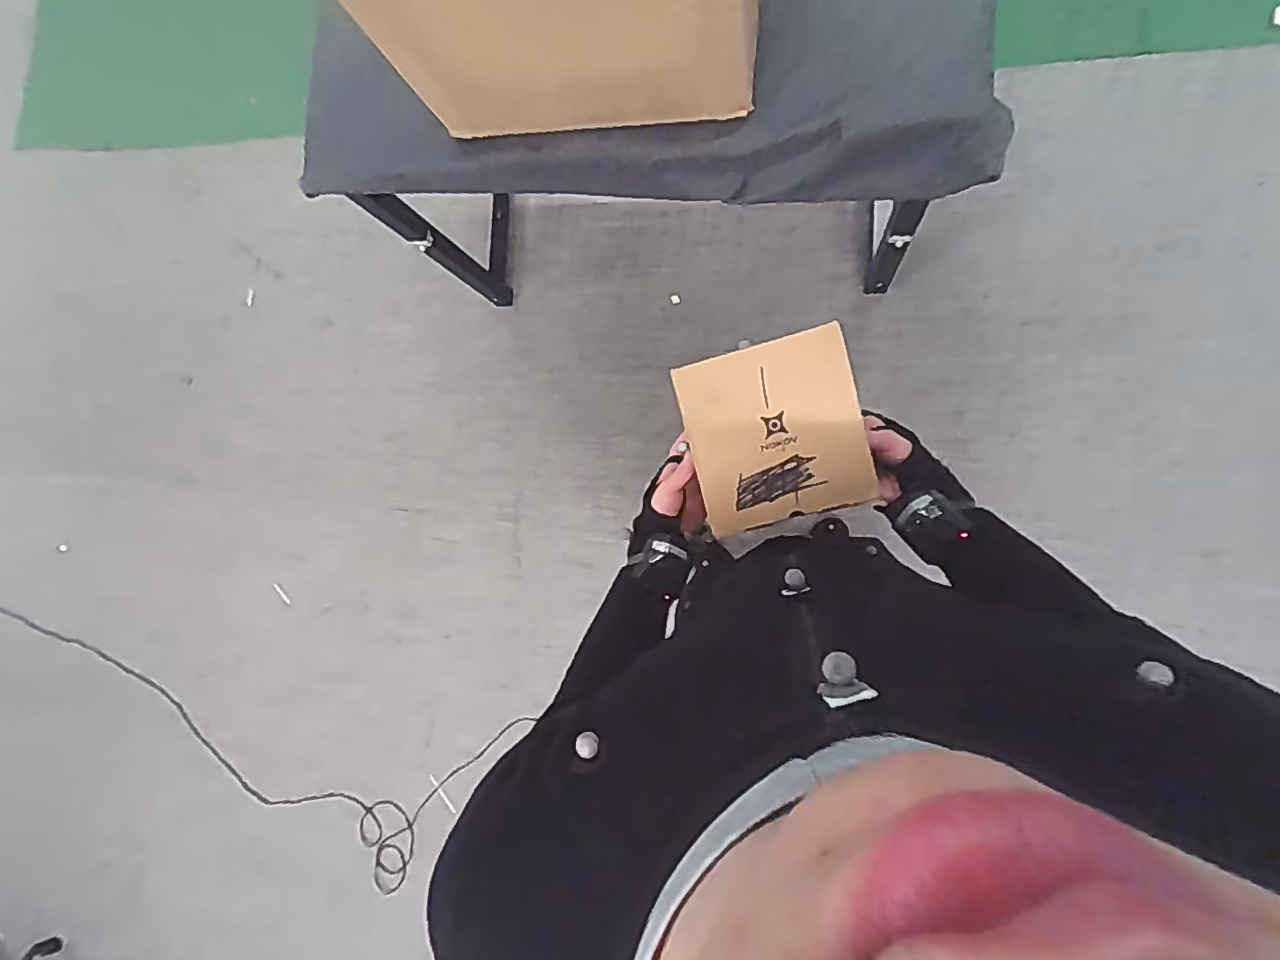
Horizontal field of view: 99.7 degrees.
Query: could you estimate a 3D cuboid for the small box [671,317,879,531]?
[{"bbox_3d":[0.139,-0.061,0.600,0.168,0.176,0.179,-16,95,7],"label":"small box"}]
